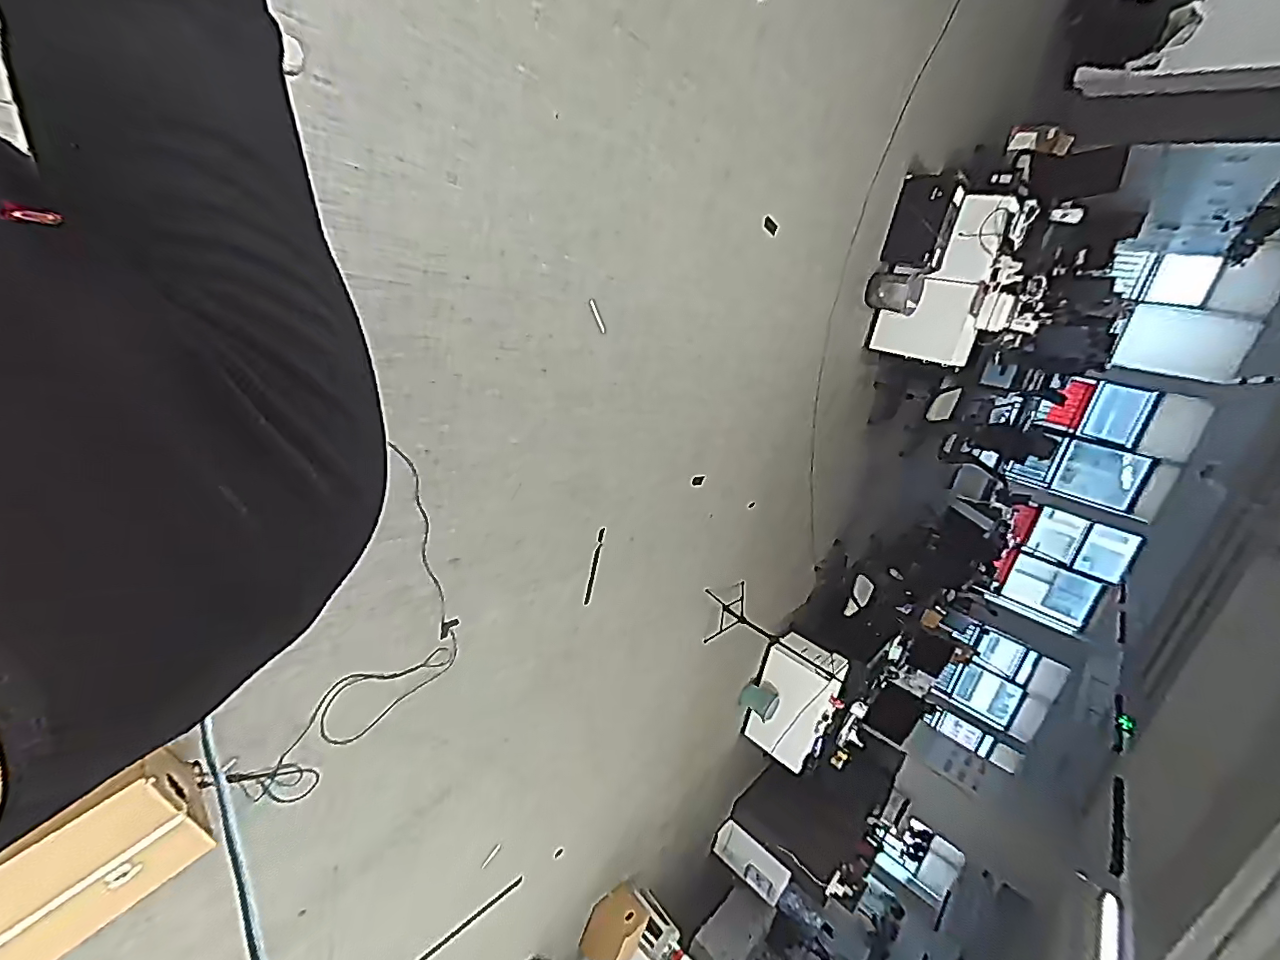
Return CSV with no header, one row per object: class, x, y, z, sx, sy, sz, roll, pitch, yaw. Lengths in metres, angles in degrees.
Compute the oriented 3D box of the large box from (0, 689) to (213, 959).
large box,-1.281,0.764,1.191,0.408,0.320,0.320,-34,134,-36
